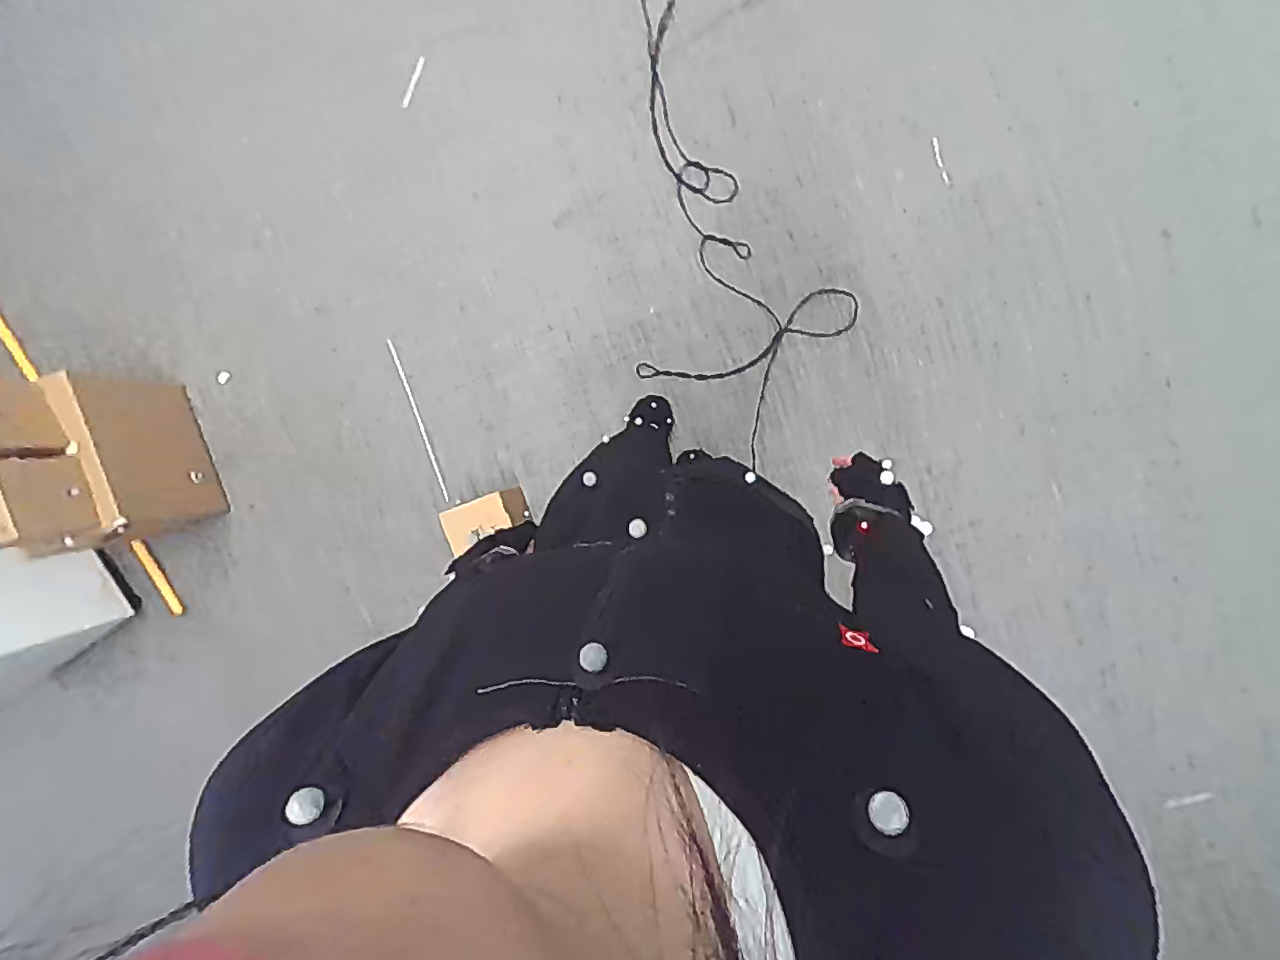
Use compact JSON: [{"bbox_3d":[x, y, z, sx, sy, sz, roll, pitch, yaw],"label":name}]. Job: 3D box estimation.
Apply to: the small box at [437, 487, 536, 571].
[{"bbox_3d":[-0.404,0.125,1.447,0.179,0.176,0.168,-20,93,7],"label":"small box"}]
